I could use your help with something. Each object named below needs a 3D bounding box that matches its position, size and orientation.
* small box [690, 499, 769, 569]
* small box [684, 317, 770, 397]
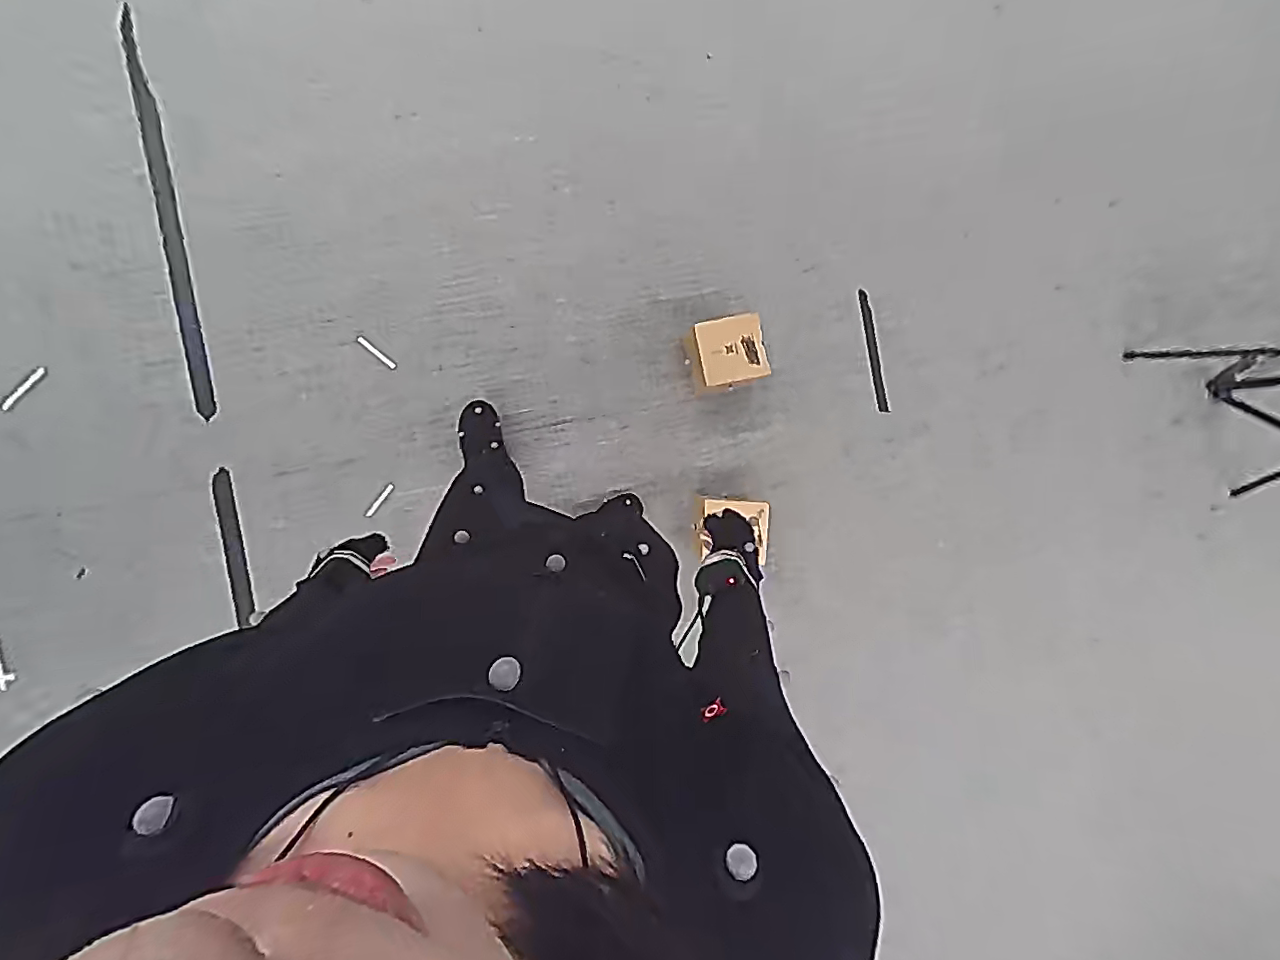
[{"bbox_3d":[0.236,0.143,1.472,0.179,0.176,0.168,4,91,-5],"label":"small box"},{"bbox_3d":[0.230,-0.326,1.461,0.179,0.176,0.168,-12,92,-5],"label":"small box"}]
